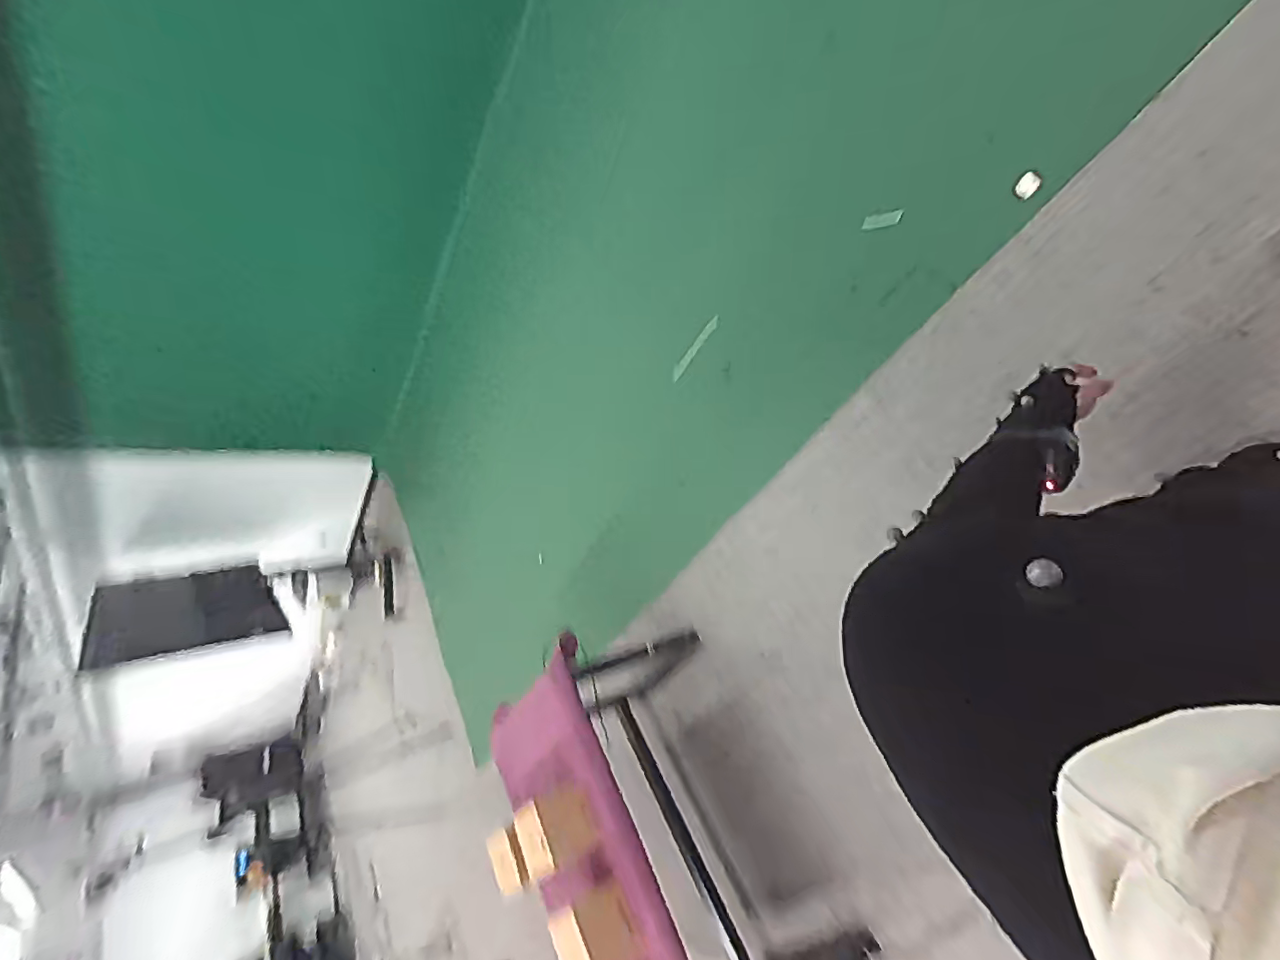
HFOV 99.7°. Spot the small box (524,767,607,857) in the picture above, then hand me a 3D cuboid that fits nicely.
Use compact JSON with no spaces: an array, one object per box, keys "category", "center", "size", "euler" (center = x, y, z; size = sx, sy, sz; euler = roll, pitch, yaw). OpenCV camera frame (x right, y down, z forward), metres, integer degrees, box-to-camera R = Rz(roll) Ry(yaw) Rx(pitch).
[{"category":"small box","center":[-0.230,1.023,1.671],"size":[0.179,0.176,0.168],"euler":[-52,55,38]}]

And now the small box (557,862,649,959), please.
[{"category":"small box","center":[-0.104,1.231,1.539],"size":[0.179,0.176,0.168],"euler":[-53,55,36]}]

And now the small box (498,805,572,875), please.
[{"category":"small box","center":[-0.350,1.184,1.817],"size":[0.179,0.176,0.168],"euler":[-52,55,36]}]
